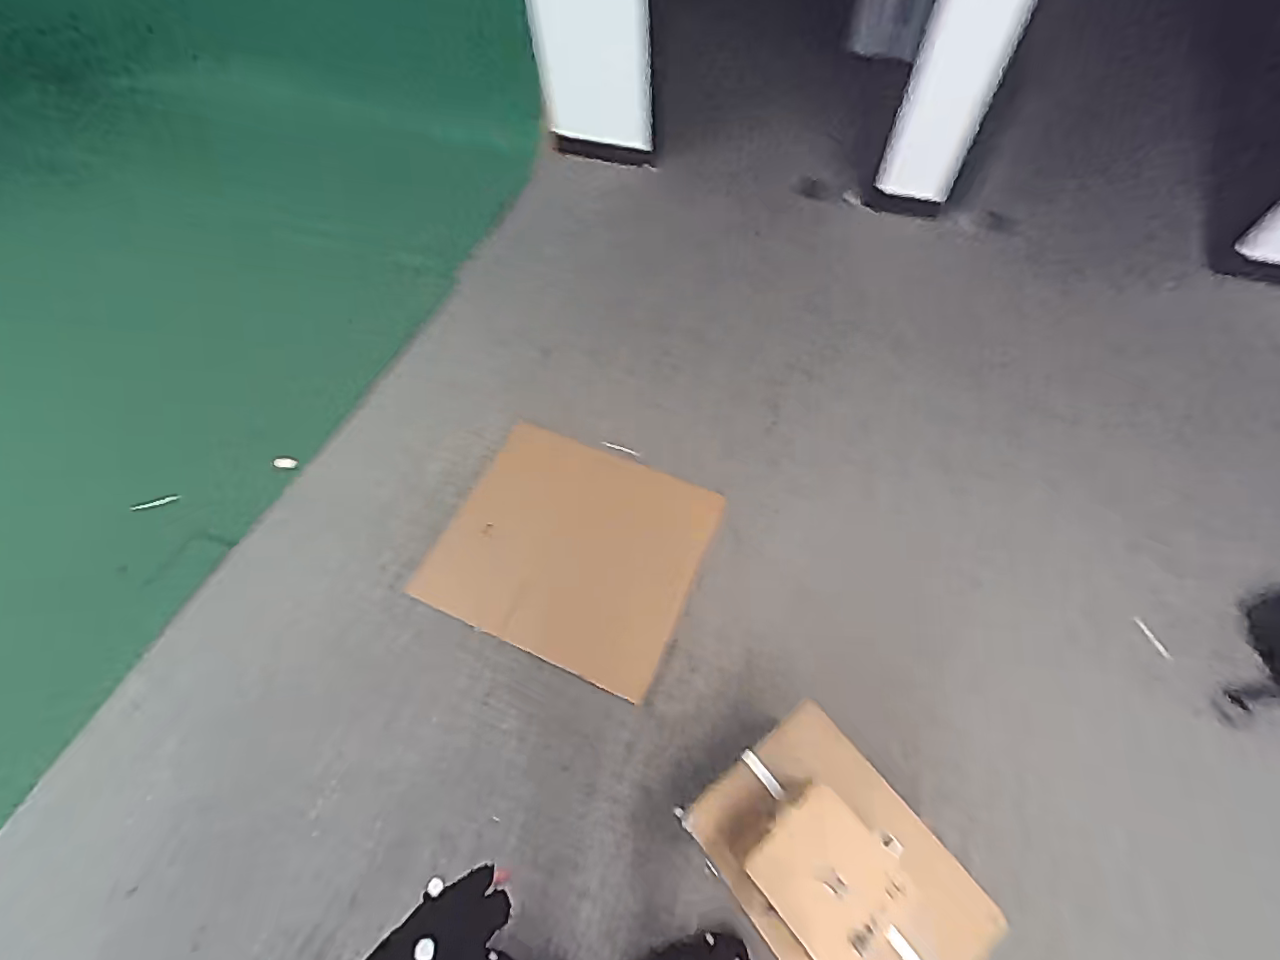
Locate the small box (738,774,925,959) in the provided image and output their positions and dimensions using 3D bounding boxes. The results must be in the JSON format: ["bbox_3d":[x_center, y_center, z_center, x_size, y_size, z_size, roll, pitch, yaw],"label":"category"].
[{"bbox_3d":[0.263,0.568,0.788,0.168,0.176,0.179,-39,65,-20],"label":"small box"}]
